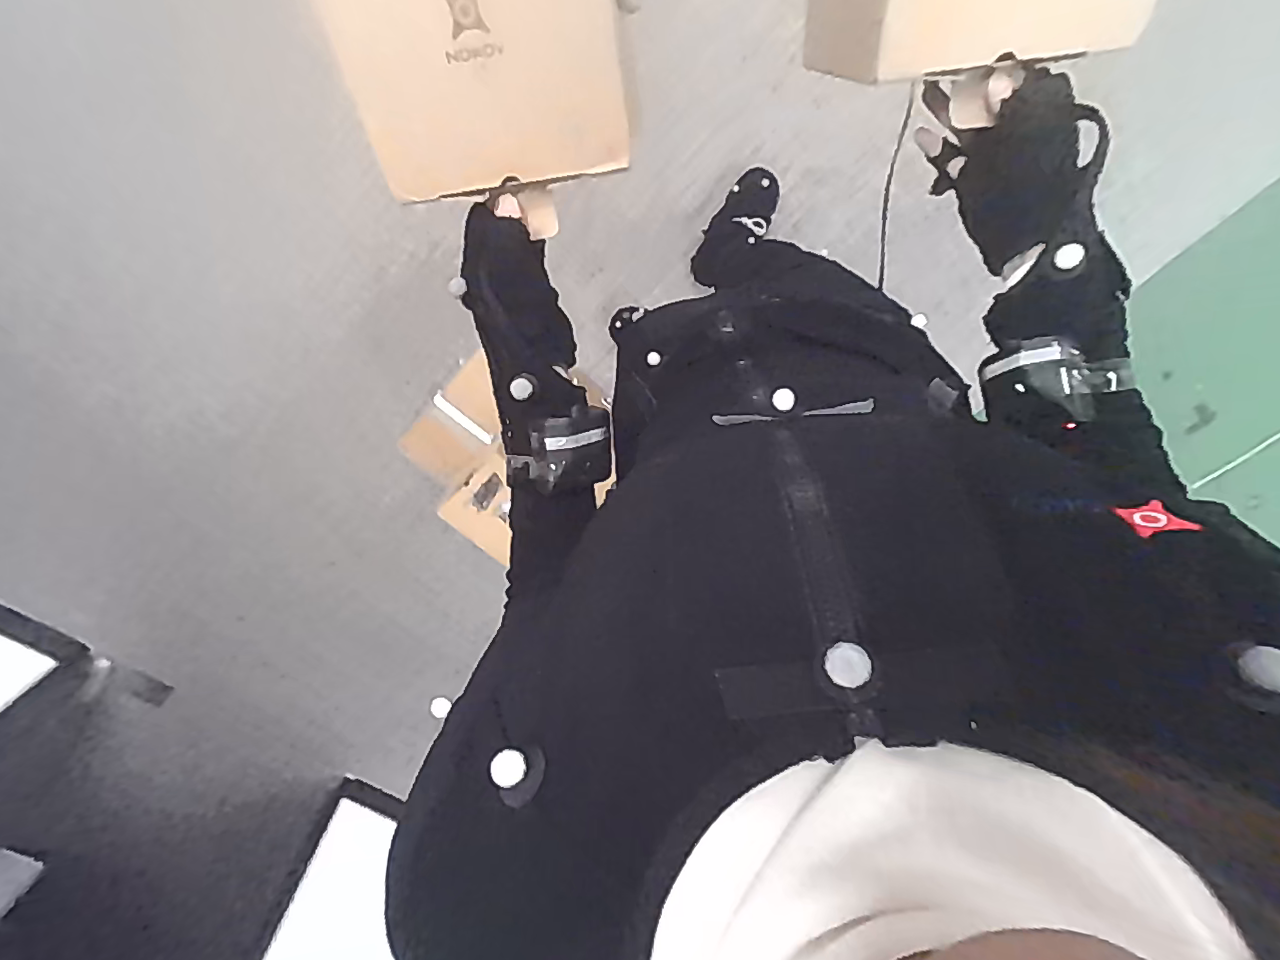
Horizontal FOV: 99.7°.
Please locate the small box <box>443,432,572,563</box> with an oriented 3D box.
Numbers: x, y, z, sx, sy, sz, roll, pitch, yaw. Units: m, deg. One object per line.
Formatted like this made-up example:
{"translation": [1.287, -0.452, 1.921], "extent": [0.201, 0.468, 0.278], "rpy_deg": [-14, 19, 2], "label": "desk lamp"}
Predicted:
{"translation": [-0.253, 0.025, 1.075], "extent": [0.168, 0.176, 0.179], "rpy_deg": [-39, 111, 12], "label": "small box"}
